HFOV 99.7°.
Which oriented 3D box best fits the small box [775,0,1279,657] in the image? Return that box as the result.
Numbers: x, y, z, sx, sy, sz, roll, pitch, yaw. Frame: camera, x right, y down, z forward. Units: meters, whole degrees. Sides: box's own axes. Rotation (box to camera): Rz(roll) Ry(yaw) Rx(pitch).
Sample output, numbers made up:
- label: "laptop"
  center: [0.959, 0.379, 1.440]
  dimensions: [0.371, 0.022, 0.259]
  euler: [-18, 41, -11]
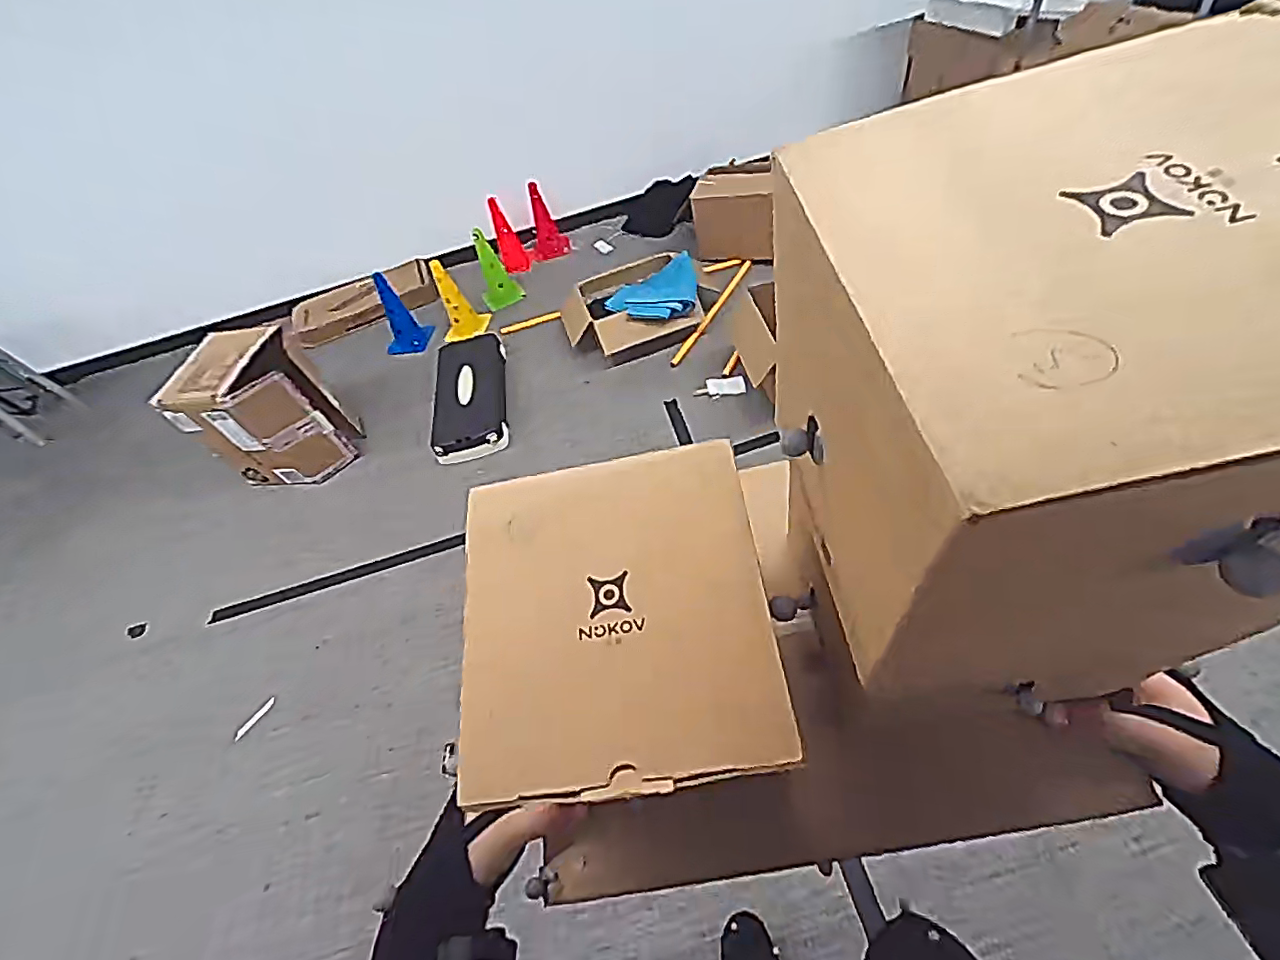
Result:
- label: "small box"
  center: [0.160, -0.041, 0.215]
  dimensions: [0.179, 0.176, 0.168]
  euler: [-12, 56, 7]
